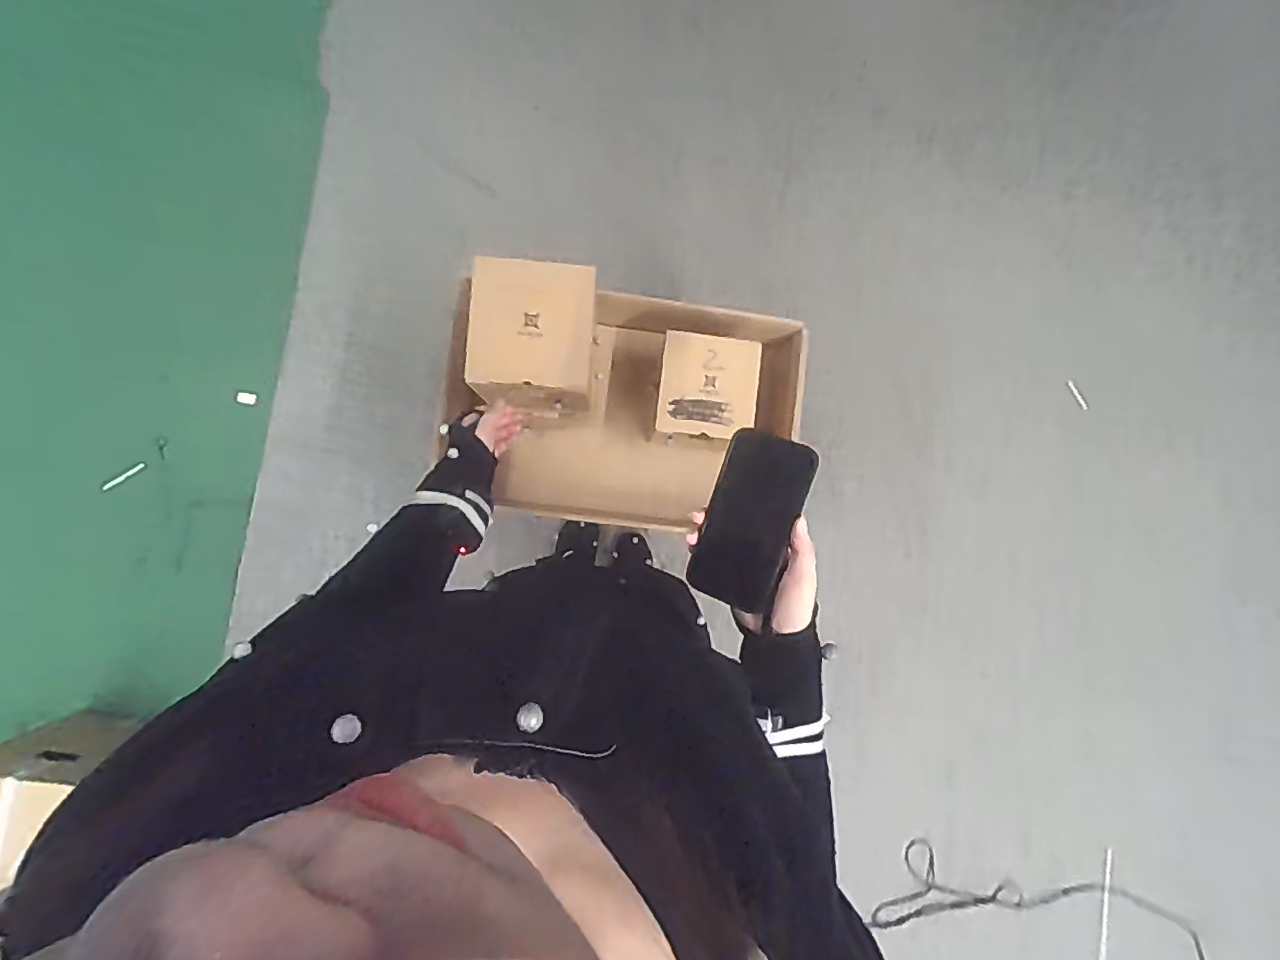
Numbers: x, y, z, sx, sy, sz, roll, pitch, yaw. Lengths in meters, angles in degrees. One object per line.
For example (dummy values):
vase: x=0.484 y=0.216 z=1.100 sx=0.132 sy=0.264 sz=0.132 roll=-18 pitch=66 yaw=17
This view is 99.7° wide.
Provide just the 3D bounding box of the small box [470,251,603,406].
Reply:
small box: x=-0.144 y=-0.212 z=0.805 sx=0.168 sy=0.176 sz=0.179 roll=4 pitch=87 yaw=-4
